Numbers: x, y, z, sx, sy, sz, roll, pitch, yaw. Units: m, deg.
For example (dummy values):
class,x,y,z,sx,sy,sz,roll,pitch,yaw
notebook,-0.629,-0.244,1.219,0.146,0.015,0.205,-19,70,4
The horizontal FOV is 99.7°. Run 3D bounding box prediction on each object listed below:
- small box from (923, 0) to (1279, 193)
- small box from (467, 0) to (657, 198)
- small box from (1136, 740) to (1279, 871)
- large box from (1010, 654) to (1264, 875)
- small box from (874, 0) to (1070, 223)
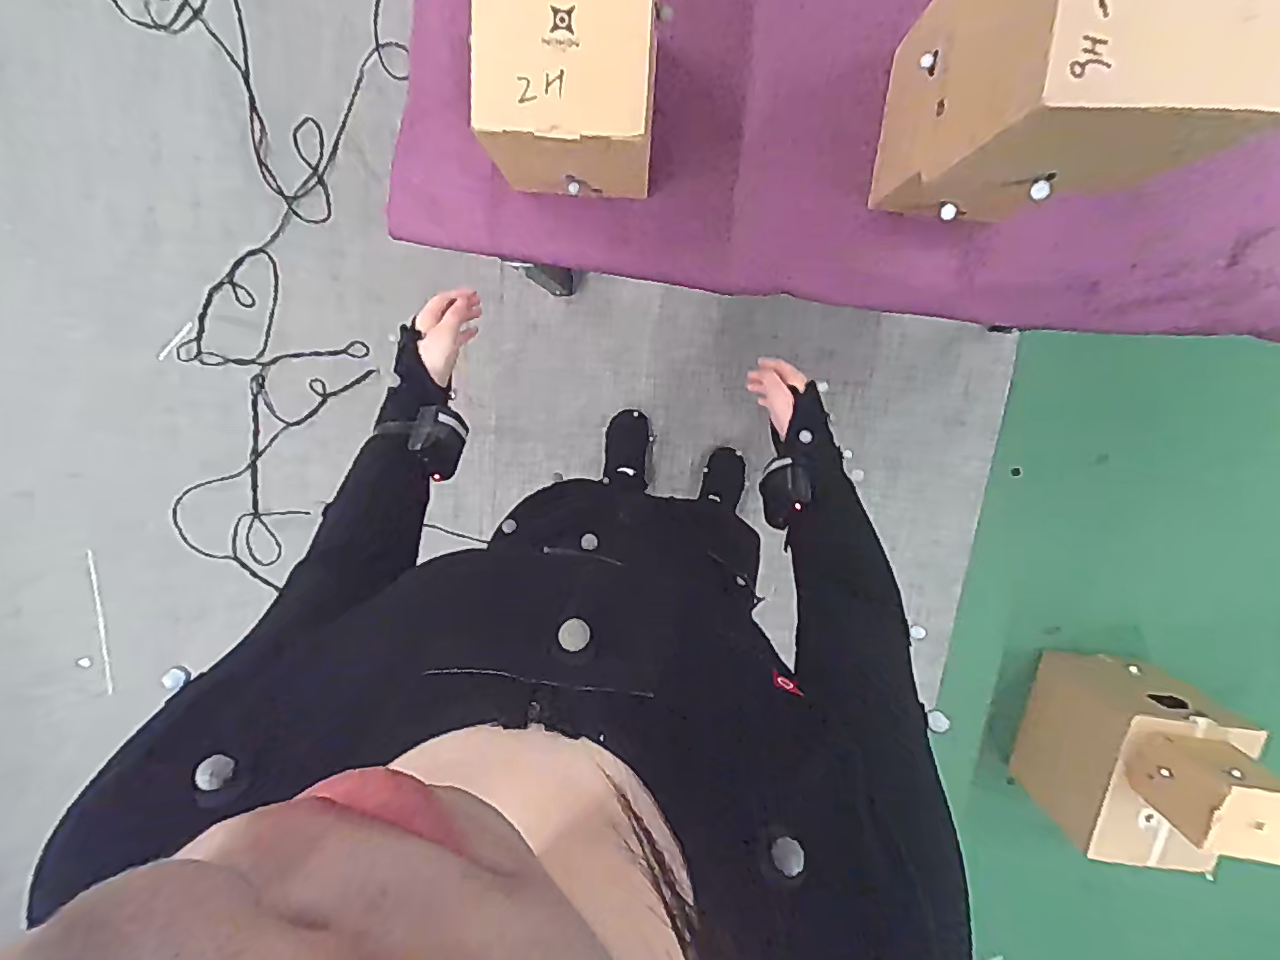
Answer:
class,x,y,z,sx,sy,sz,roll,pitch,yaw
small box,0.347,-0.328,0.401,0.179,0.176,0.168,4,102,1
small box,-0.070,-0.419,0.562,0.168,0.176,0.179,4,101,1
small box,1.252,0.694,1.169,0.179,0.176,0.168,9,102,1
large box,1.265,0.725,1.424,0.320,0.320,0.408,7,102,1
small box,0.363,-0.387,0.556,0.168,0.176,0.179,7,102,1
